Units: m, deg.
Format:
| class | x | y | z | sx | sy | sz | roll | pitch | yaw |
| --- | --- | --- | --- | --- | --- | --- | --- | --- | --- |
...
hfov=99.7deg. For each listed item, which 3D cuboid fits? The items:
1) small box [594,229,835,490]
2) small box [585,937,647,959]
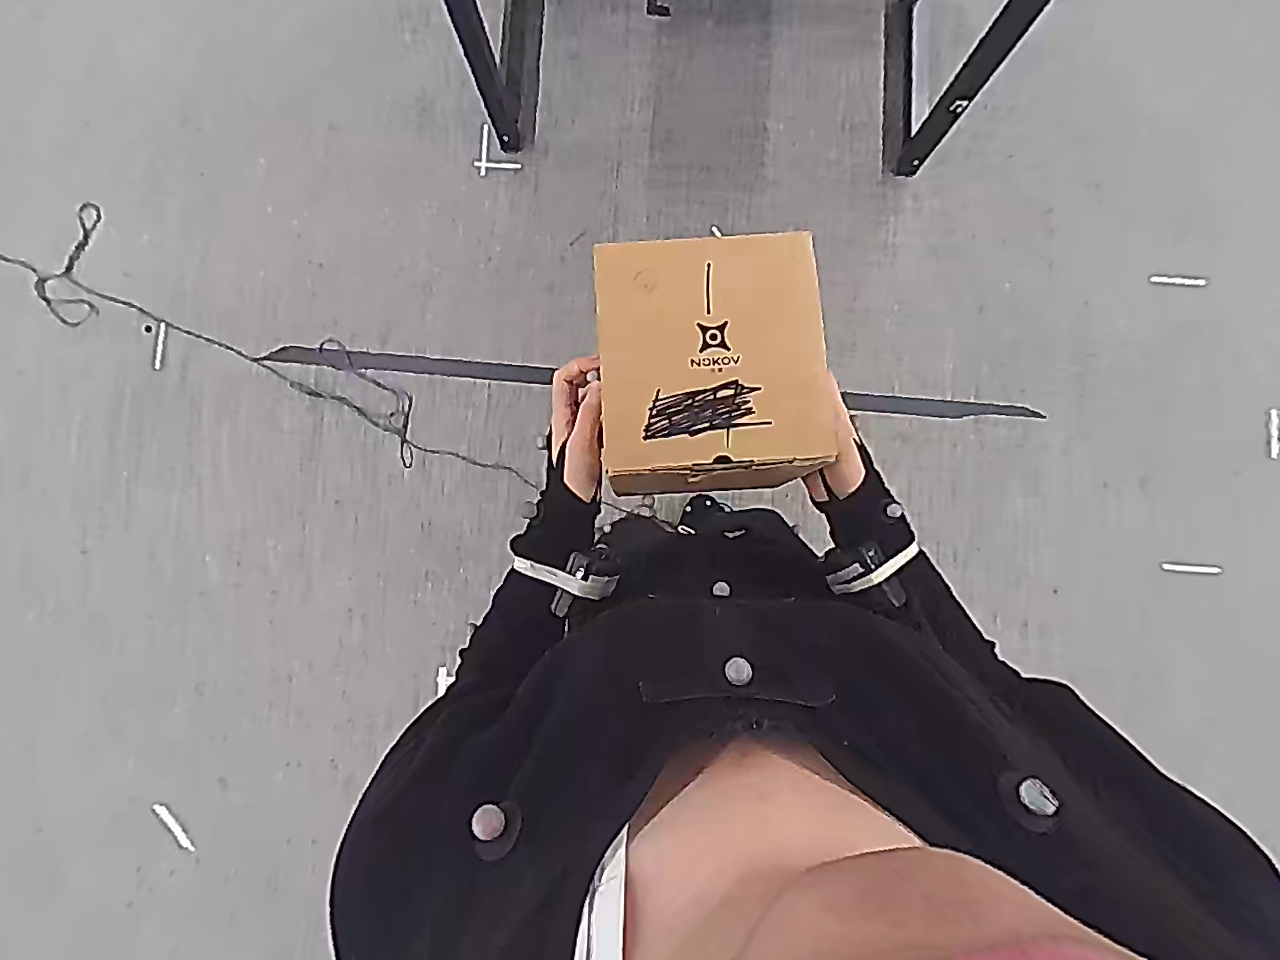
| class | x | y | z | sx | sy | sz | roll | pitch | yaw |
| --- | --- | --- | --- | --- | --- | --- | --- | --- | --- |
| small box | 0.052 | -0.086 | 0.470 | 0.168 | 0.176 | 0.179 | -4 | 82 | -1 |
| small box | -0.069 | 1.302 | 1.346 | 0.168 | 0.176 | 0.179 | 7 | 86 | 0 |
